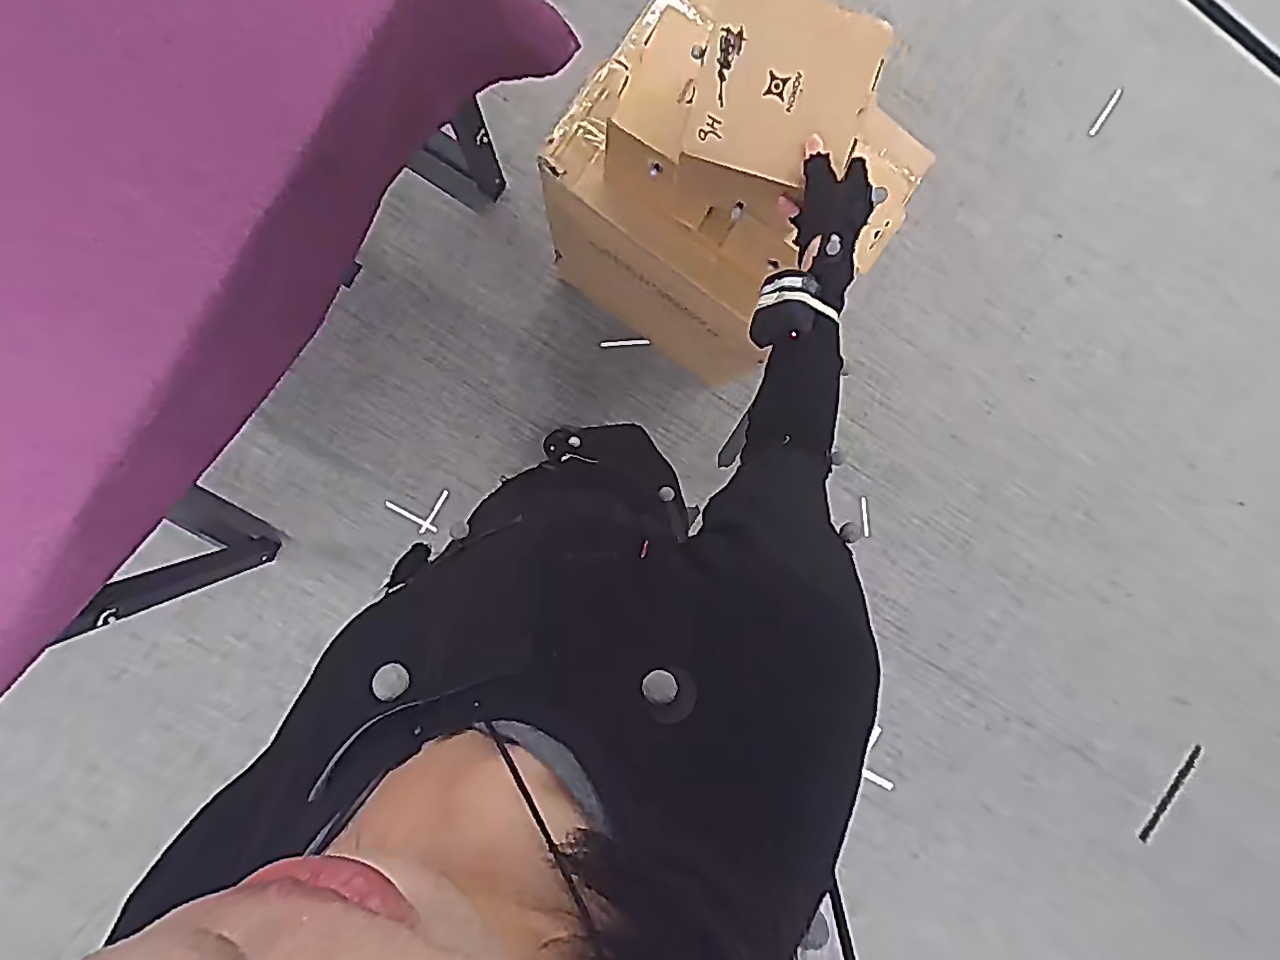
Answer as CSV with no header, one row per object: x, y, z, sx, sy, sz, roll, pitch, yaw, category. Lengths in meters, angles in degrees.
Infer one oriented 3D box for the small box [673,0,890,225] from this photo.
0.145,-0.413,0.625,0.179,0.176,0.168,15,103,-3,small box

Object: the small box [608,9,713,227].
0.063,-0.502,0.784,0.179,0.176,0.168,29,93,-8,small box

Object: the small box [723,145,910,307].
0.249,-0.381,0.808,0.179,0.176,0.168,34,92,-4,small box
